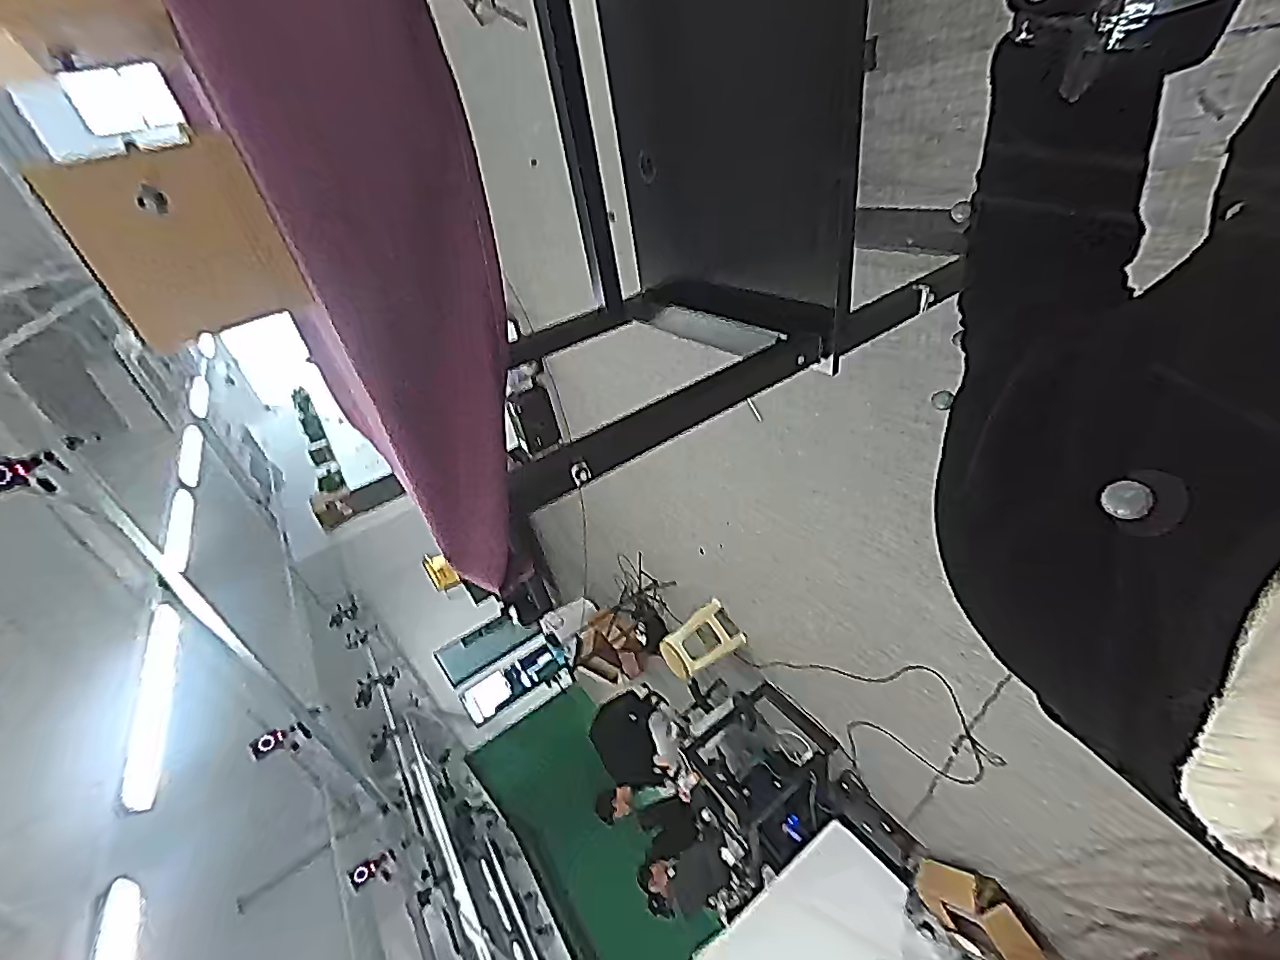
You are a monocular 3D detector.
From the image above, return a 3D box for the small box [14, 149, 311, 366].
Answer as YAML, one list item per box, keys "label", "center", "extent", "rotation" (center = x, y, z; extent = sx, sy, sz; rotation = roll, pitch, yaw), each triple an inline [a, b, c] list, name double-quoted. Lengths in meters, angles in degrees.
- label: "small box"
  center: [-0.502, -0.254, 0.599]
  extent: [0.168, 0.176, 0.179]
  rotation: [36, 147, 47]

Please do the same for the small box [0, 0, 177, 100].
- label: "small box"
  center: [-0.539, -0.446, 0.453]
  extent: [0.179, 0.176, 0.168]
  rotation: [32, 143, 51]
